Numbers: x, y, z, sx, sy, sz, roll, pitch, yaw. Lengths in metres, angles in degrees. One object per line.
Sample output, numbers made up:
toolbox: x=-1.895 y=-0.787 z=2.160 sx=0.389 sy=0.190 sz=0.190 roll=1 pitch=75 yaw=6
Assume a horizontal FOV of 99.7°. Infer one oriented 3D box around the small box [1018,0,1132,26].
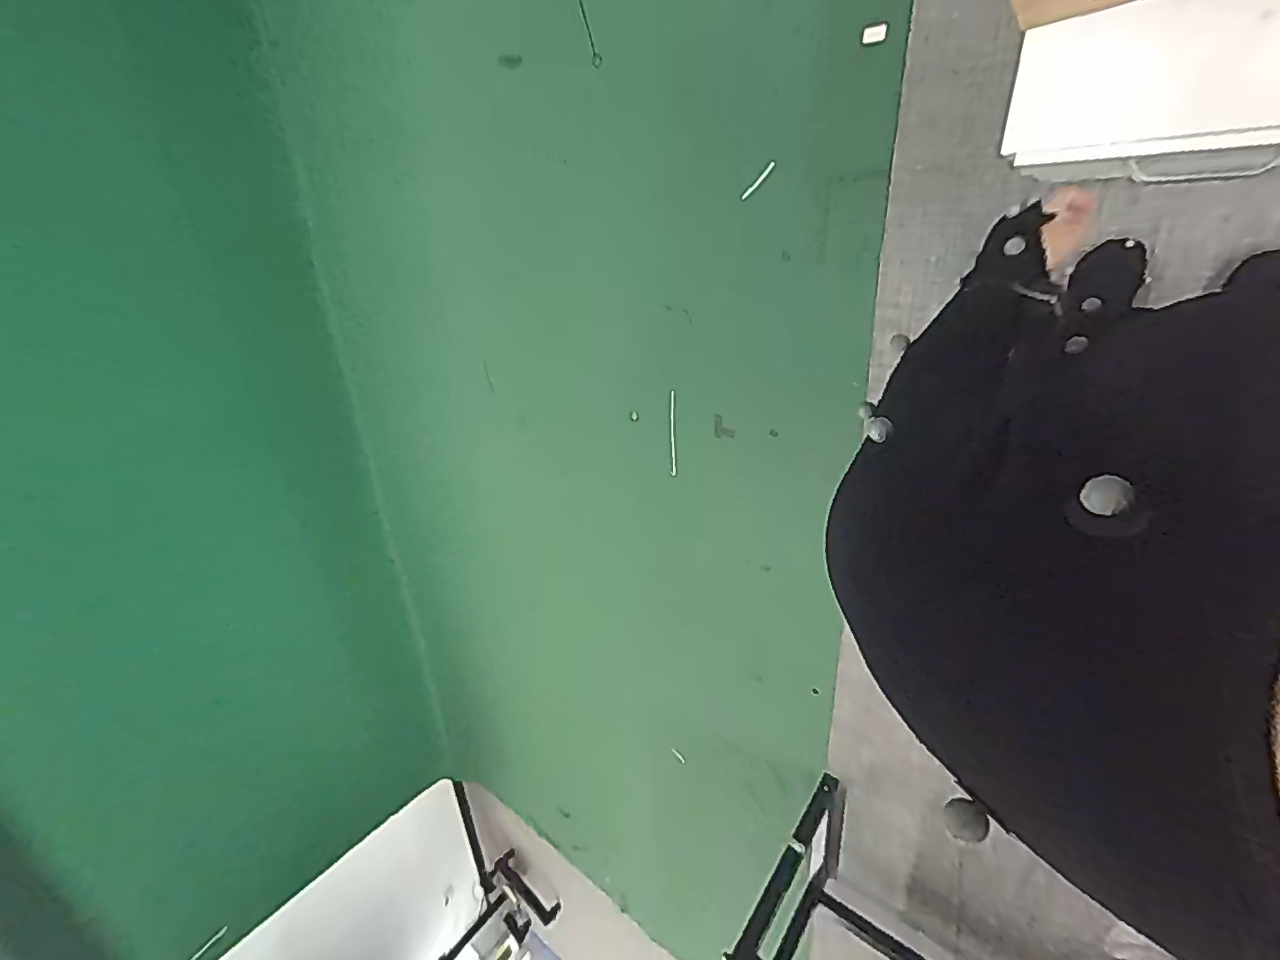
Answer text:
small box: x=0.460 y=-0.560 z=0.496 sx=0.179 sy=0.176 sz=0.168 roll=10 pitch=117 yaw=36
